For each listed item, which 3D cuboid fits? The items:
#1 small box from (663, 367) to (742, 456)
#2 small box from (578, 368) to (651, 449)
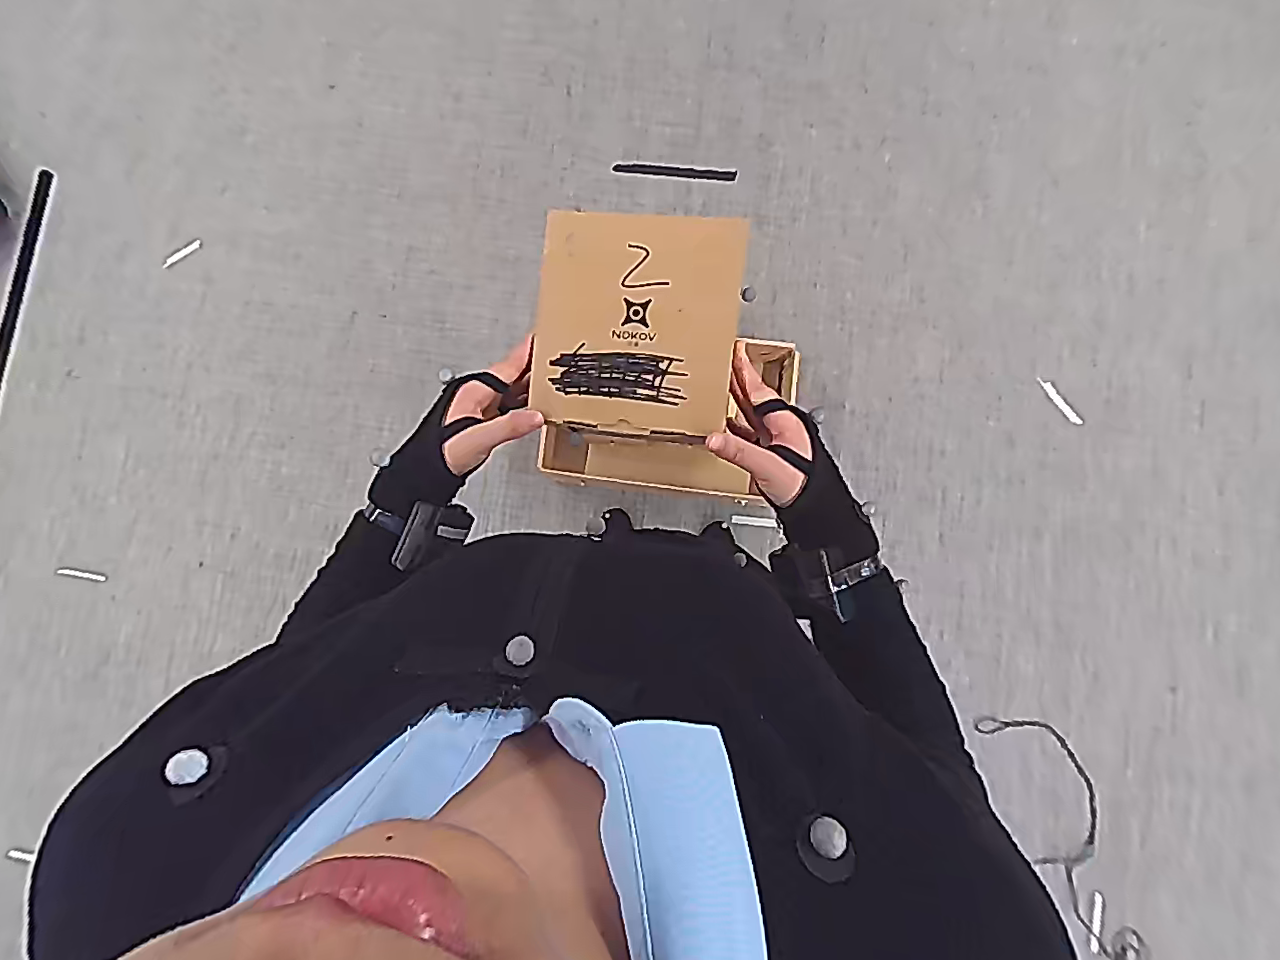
[{"bbox_3d":[0.158,-0.172,1.399,0.168,0.176,0.179,12,86,5],"label":"small box"},{"bbox_3d":[-0.060,-0.180,1.410,0.168,0.176,0.179,5,86,2],"label":"small box"}]
